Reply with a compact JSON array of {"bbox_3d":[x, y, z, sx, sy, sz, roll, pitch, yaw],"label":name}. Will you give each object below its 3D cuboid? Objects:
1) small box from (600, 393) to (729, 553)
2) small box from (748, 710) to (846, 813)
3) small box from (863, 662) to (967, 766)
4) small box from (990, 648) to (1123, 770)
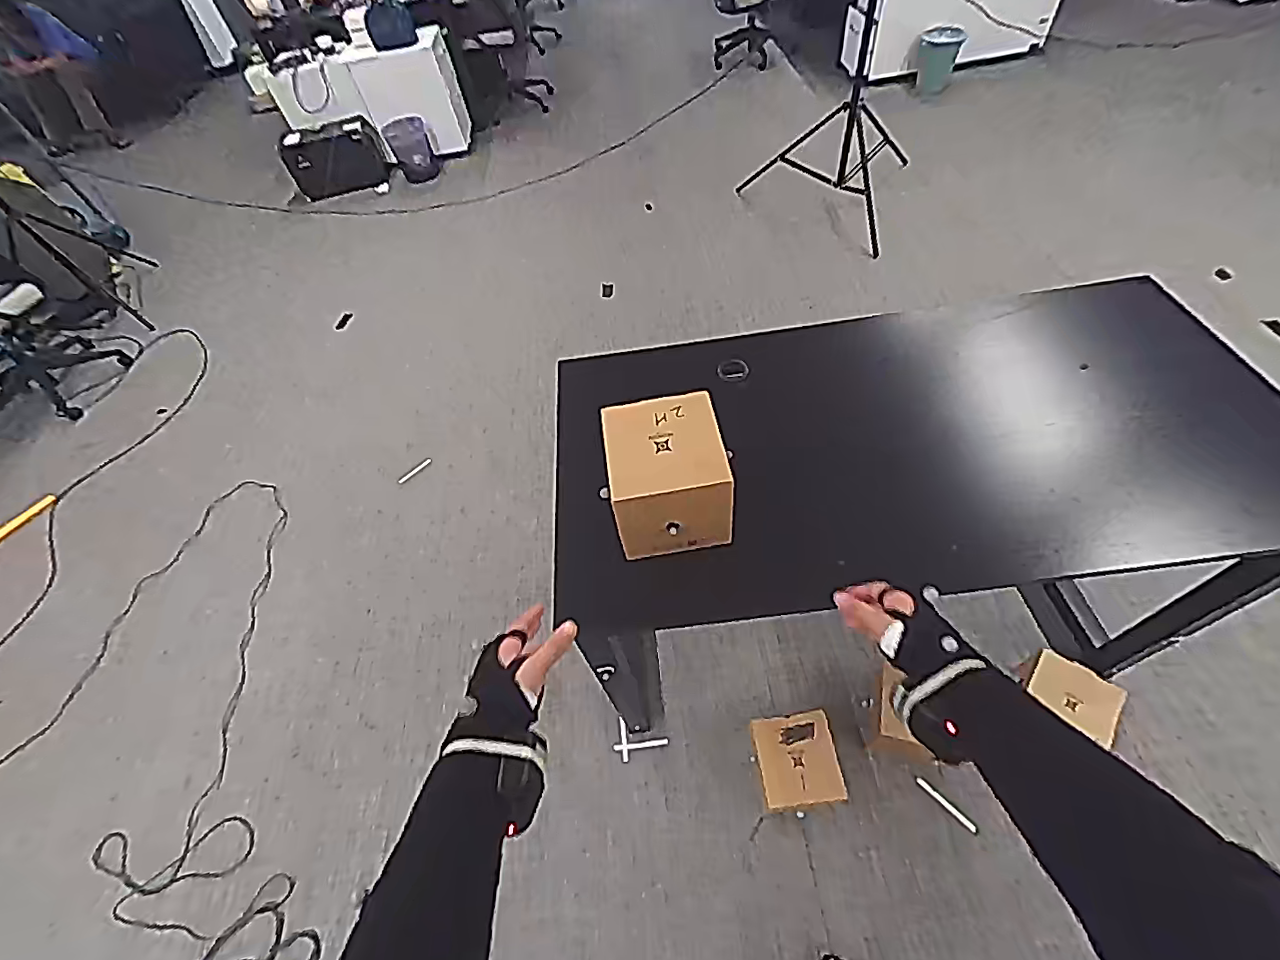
[{"bbox_3d":[0.039,-0.002,0.827,0.168,0.176,0.179,-10,53,1],"label":"small box"},{"bbox_3d":[0.344,0.639,1.224,0.168,0.176,0.179,-9,55,2],"label":"small box"},{"bbox_3d":[0.629,0.546,1.251,0.179,0.176,0.168,8,55,16],"label":"small box"},{"bbox_3d":[0.930,0.519,1.222,0.168,0.176,0.179,30,63,27],"label":"small box"}]
